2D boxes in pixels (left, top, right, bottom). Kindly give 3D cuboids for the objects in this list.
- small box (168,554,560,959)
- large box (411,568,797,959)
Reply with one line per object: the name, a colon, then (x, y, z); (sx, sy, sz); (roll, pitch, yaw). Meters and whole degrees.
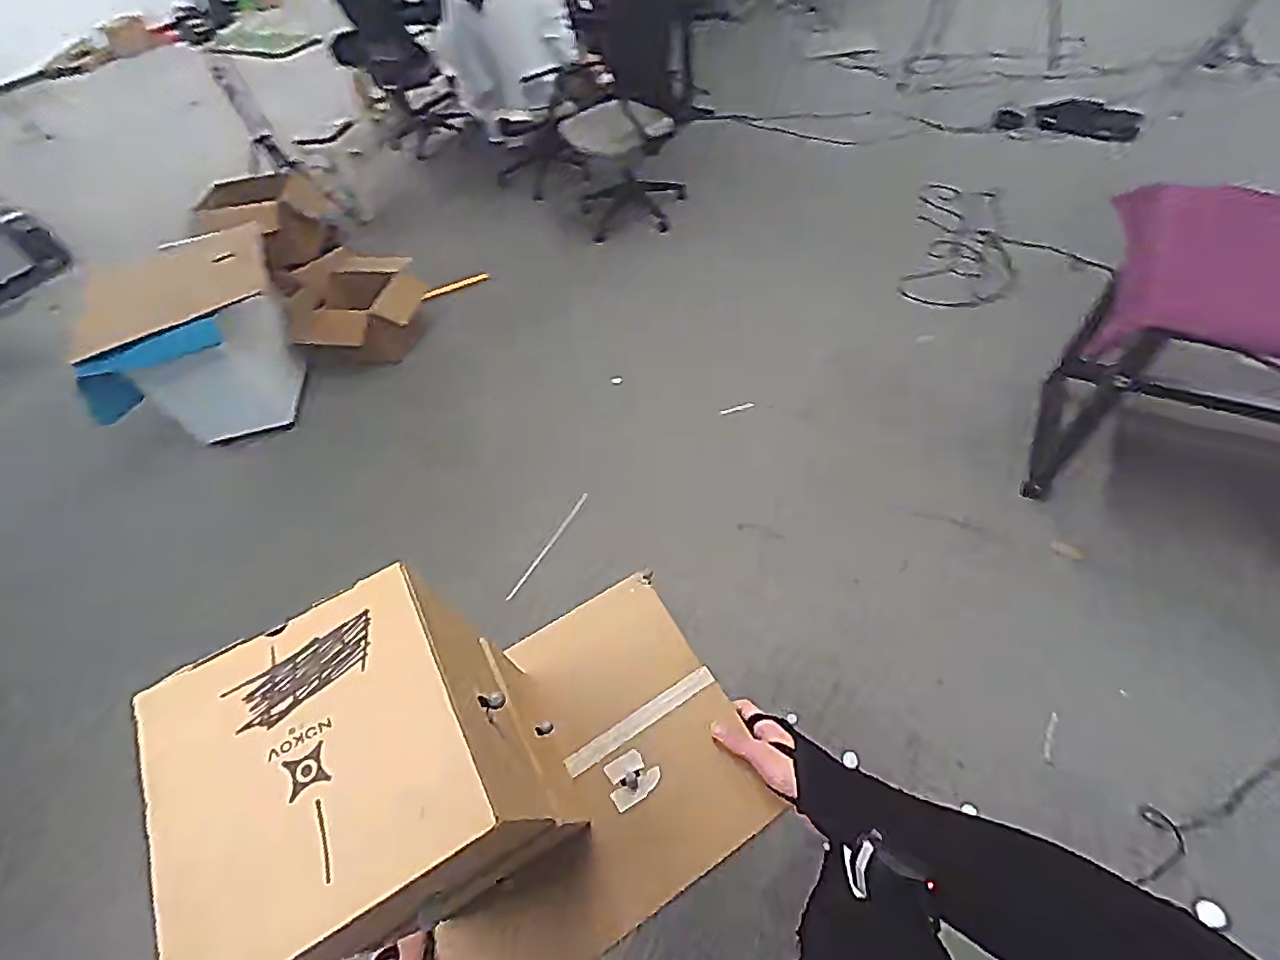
small box: (-0.173, 0.188, 0.376); (0.168, 0.176, 0.179); (-27, 61, -13)
large box: (-0.070, 0.395, 0.723); (0.408, 0.320, 0.320); (-28, 62, -14)
